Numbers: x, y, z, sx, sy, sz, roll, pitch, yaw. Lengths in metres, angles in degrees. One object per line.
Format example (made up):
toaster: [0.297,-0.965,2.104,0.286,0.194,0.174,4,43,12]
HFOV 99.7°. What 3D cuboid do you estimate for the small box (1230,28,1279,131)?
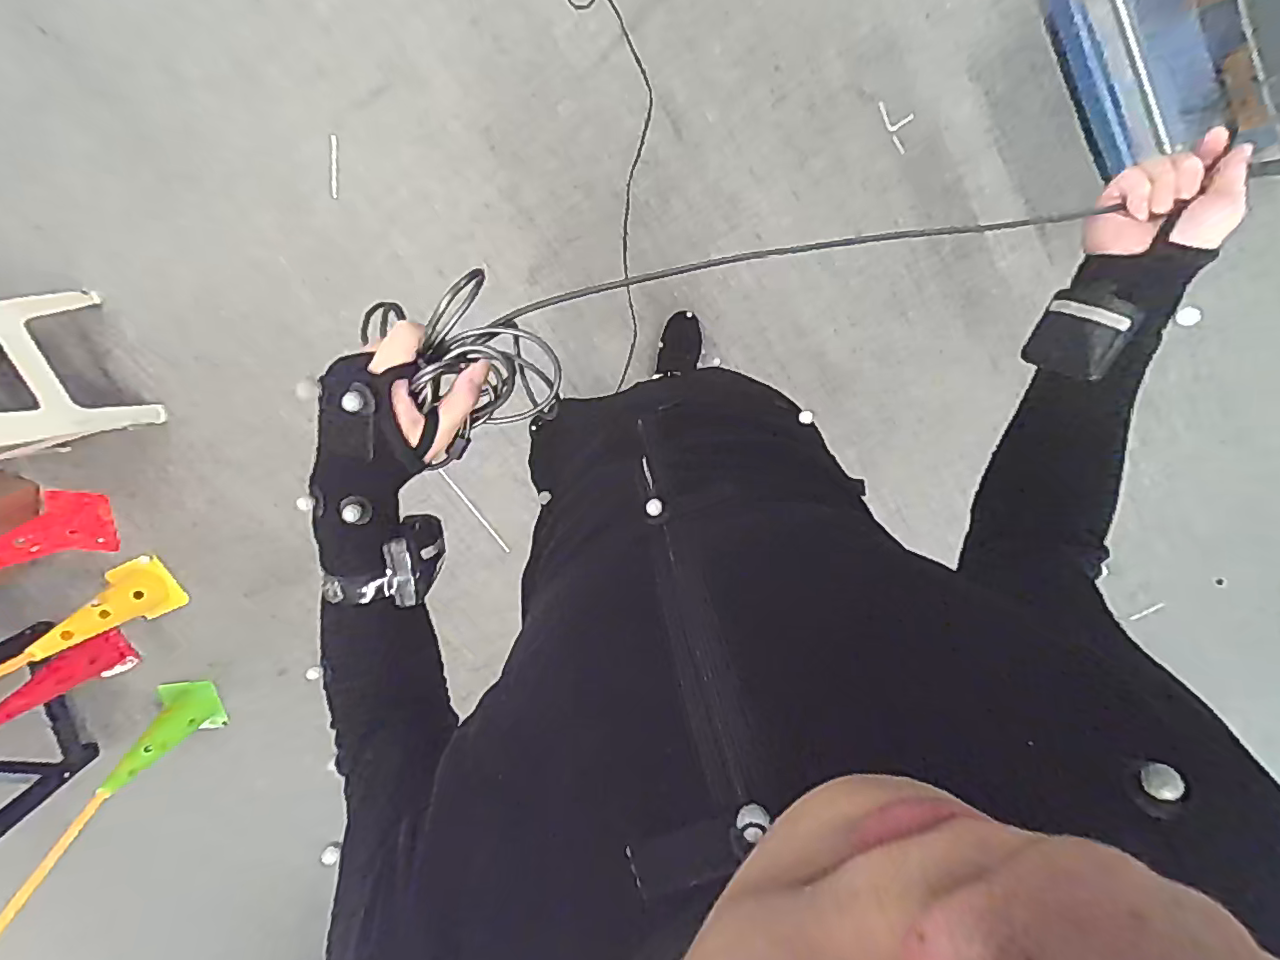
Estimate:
small box: [1.344,-0.833,1.058,0.179,0.176,0.168,-32,105,12]
